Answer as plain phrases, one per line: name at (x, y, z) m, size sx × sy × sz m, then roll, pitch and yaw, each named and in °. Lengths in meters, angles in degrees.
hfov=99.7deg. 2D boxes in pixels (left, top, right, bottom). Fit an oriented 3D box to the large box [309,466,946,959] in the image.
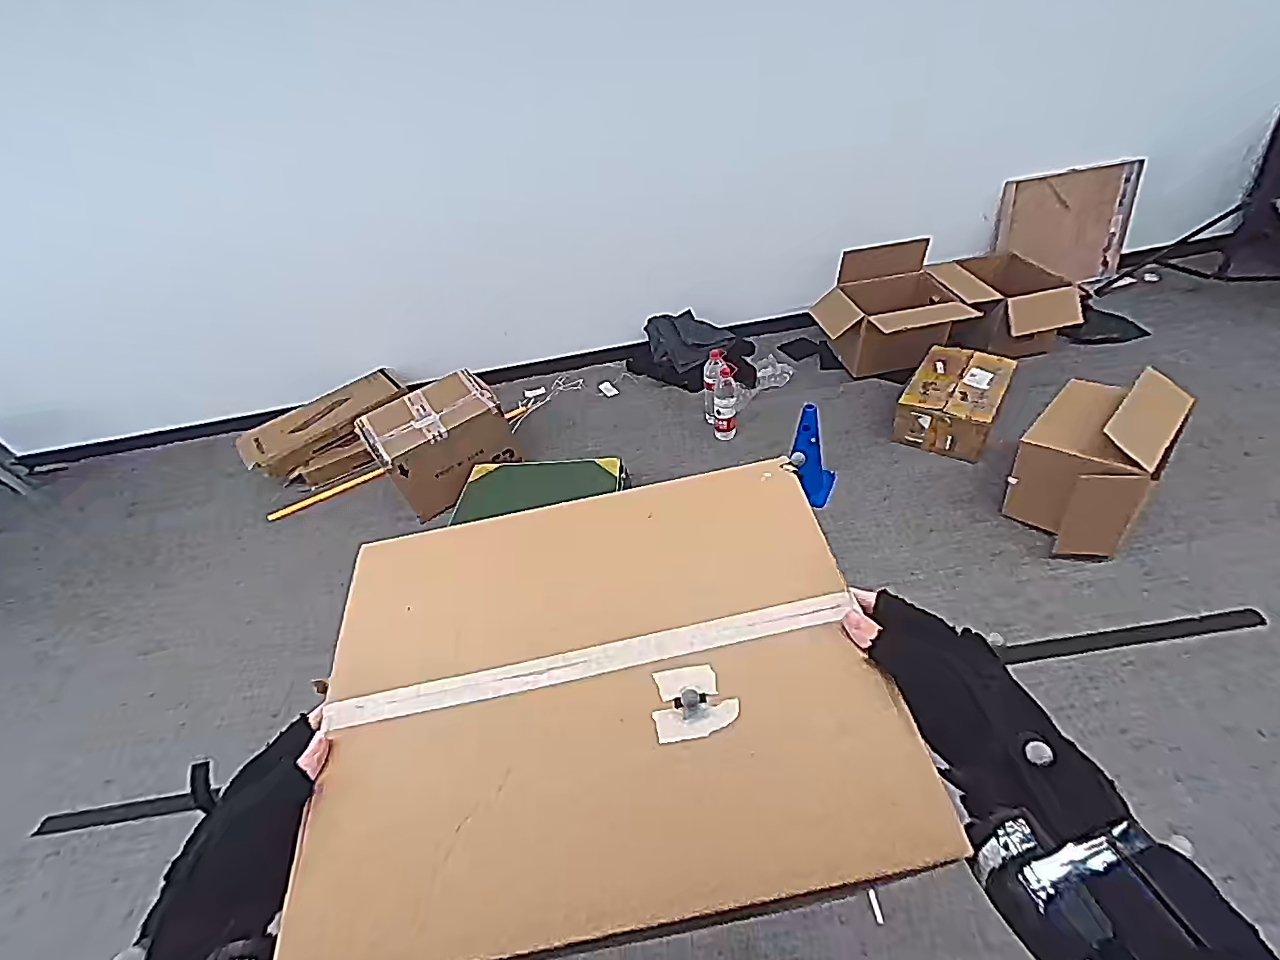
large box at (-0.013, 0.234, 0.532) m, size 0.408 × 0.320 × 0.320 m, roll -11°, pitch 50°, yaw -1°
